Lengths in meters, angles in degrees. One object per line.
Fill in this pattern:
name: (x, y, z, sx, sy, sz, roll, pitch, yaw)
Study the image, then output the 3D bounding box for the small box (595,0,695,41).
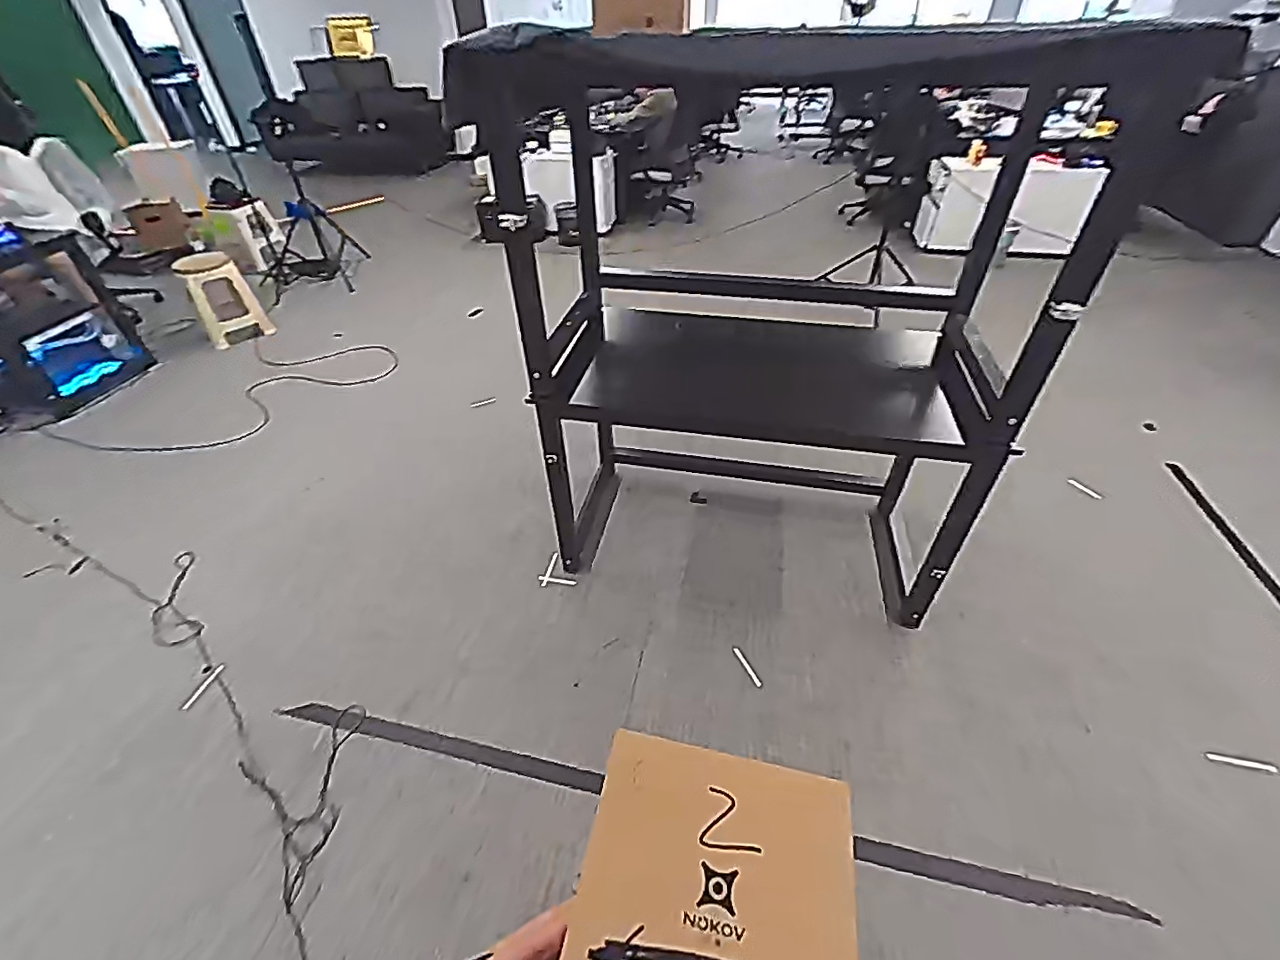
small box: (0.012, -0.896, 0.963, 0.168, 0.176, 0.179, 5, 40, 6)
